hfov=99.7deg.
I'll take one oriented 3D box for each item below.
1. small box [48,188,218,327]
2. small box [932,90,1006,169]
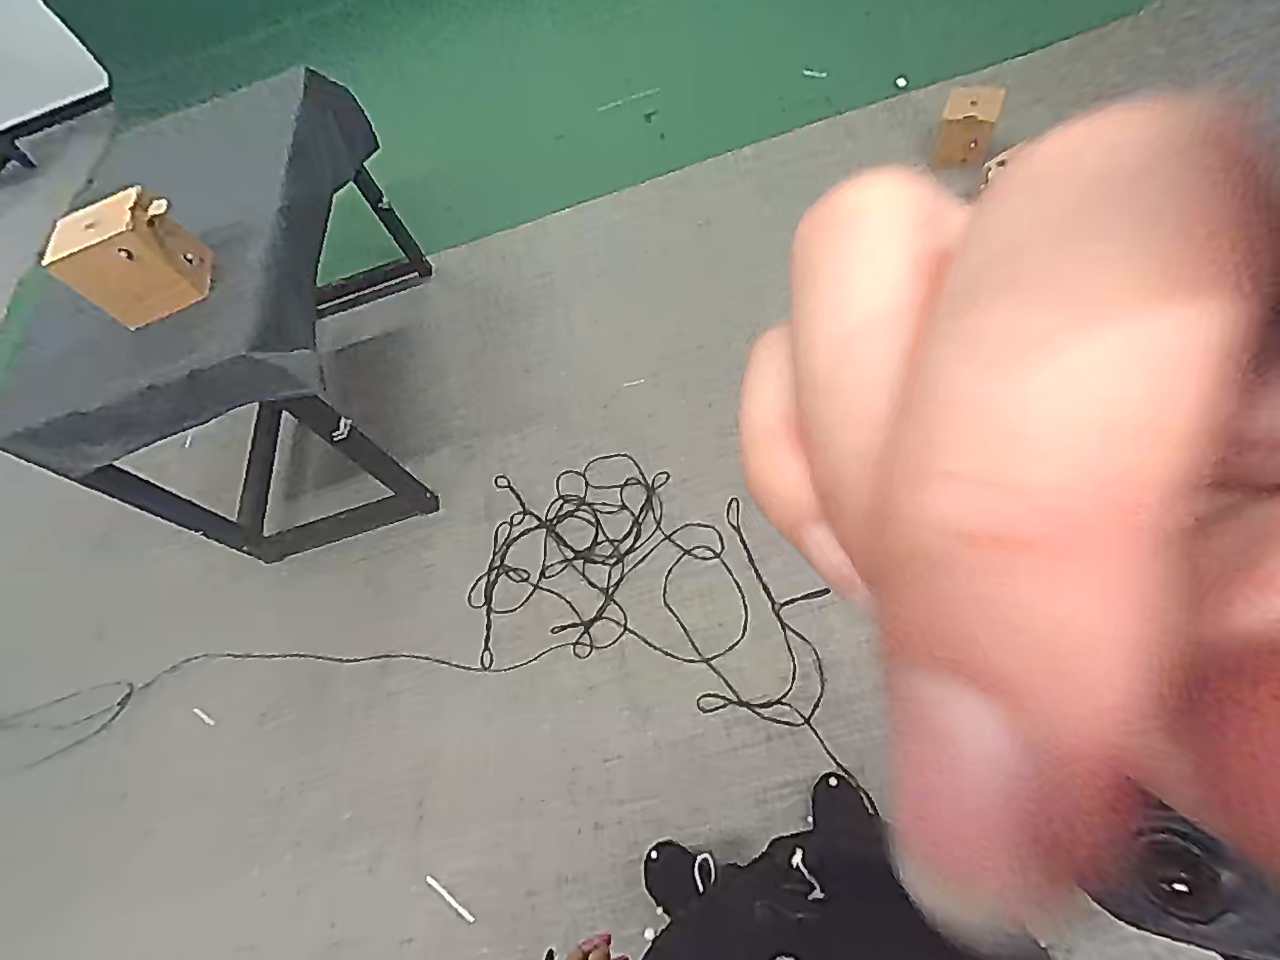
[{"bbox_3d":[-1.013,-0.444,1.097,0.179,0.176,0.168,-24,58,0],"label":"small box"},{"bbox_3d":[1.109,-1.186,1.835,0.168,0.176,0.179,16,66,20],"label":"small box"}]
